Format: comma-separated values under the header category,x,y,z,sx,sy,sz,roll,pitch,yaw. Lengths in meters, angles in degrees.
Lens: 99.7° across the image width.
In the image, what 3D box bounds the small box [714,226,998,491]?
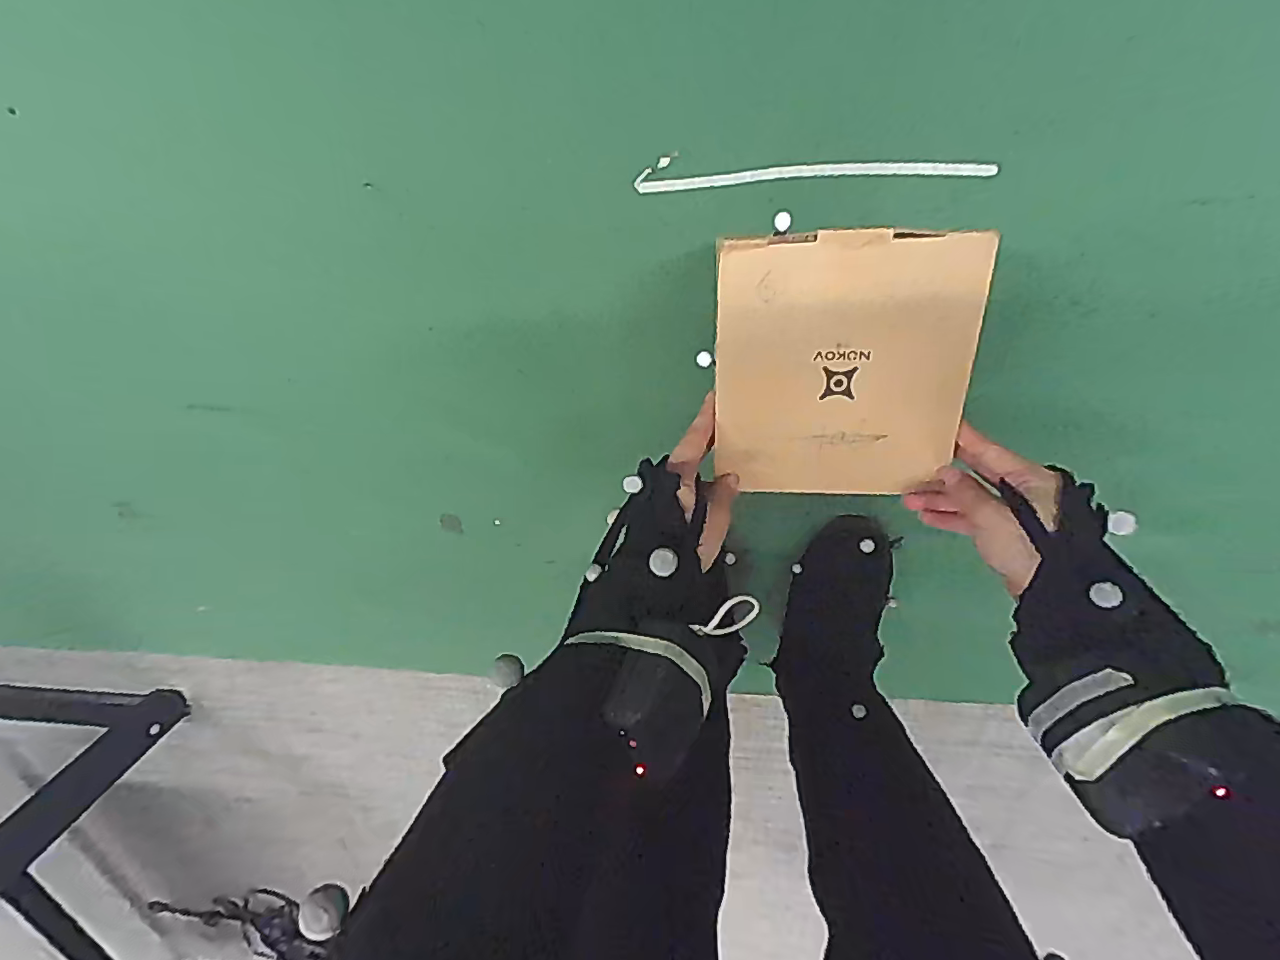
category,x,y,z,sx,sy,sz,roll,pitch,yaw
small box,0.146,-0.106,0.437,0.168,0.176,0.179,1,116,8
